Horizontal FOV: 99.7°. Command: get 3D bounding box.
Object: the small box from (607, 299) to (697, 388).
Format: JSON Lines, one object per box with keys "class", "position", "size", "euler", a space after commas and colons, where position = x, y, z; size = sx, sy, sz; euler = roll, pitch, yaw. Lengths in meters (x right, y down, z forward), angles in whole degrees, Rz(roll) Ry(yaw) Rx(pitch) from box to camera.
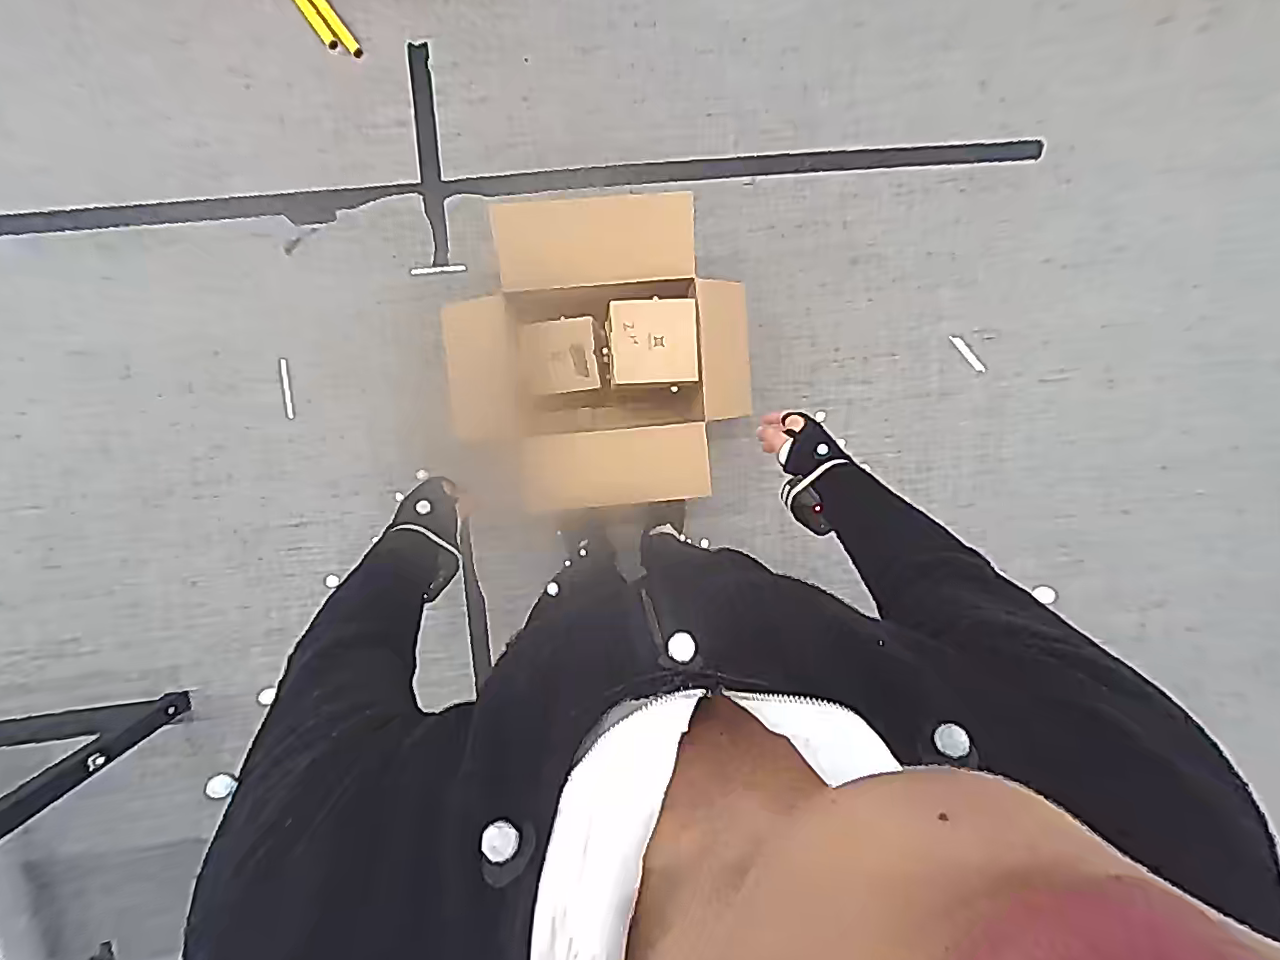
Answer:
{"class": "small box", "position": [0.021, -0.289, 1.170], "size": [0.179, 0.176, 0.168], "euler": [-3, 95, -4]}
